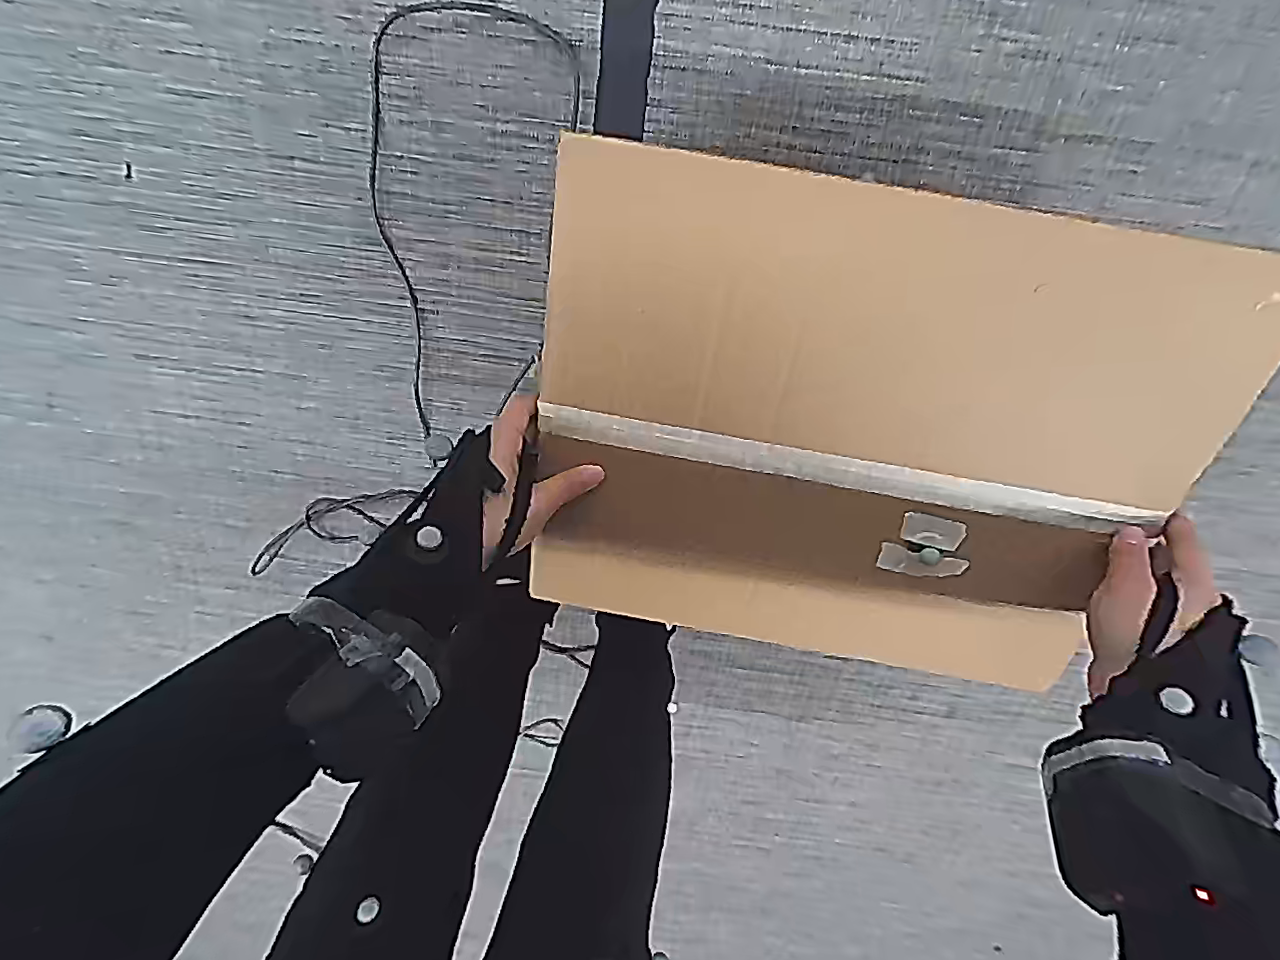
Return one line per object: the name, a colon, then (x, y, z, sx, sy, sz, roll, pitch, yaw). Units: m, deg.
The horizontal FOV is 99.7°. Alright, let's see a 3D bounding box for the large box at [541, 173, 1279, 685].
large box: (0.146, -0.068, 0.490, 0.408, 0.320, 0.320, 10, 118, 0)
